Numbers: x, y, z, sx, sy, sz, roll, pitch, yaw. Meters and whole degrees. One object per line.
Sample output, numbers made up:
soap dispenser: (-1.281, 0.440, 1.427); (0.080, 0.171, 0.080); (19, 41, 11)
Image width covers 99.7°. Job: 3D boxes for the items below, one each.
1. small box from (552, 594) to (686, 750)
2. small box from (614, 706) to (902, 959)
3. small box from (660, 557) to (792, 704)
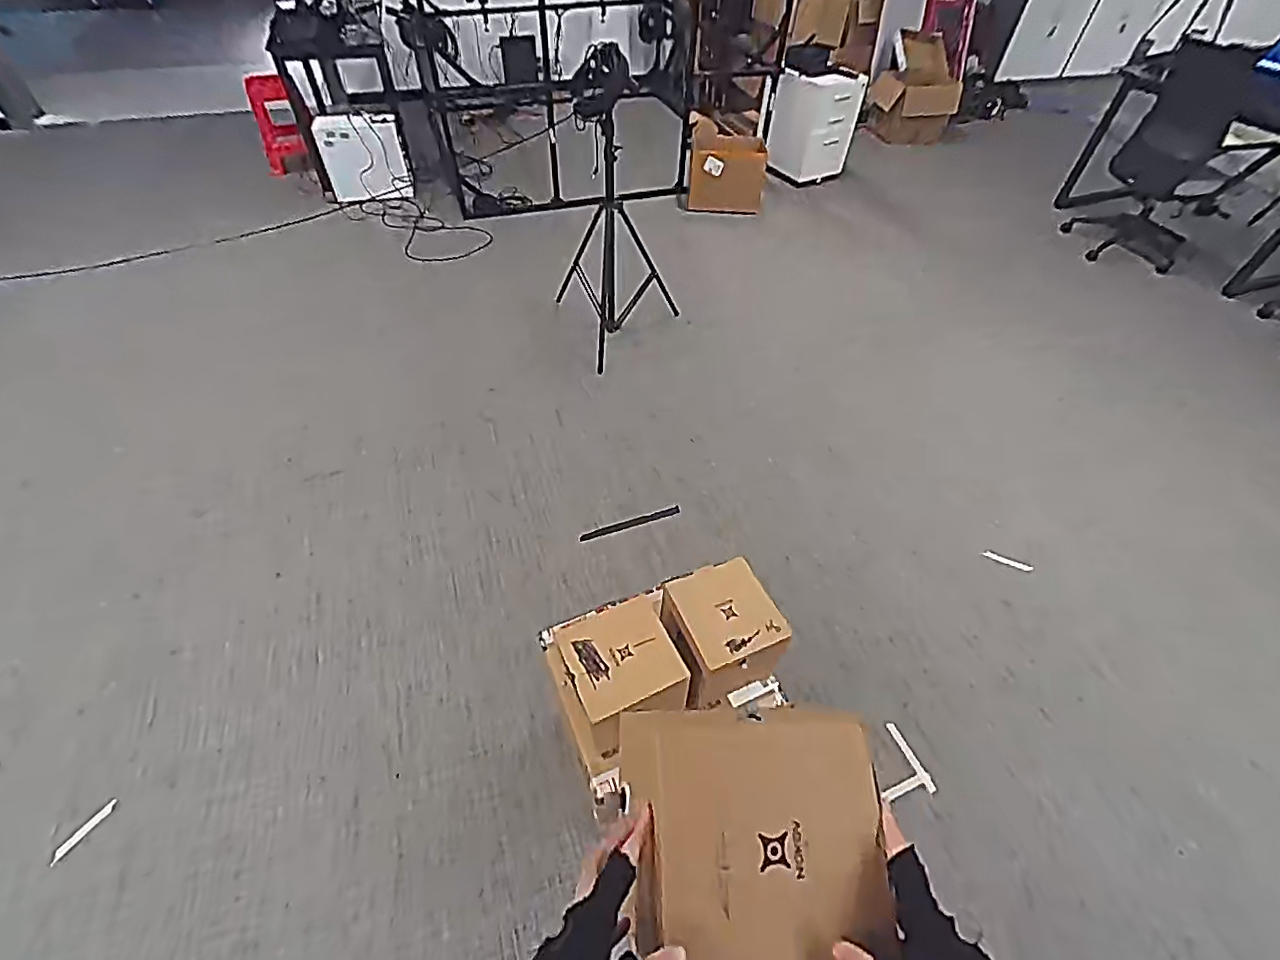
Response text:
small box: (-0.035, 0.335, 0.937); (0.179, 0.176, 0.168); (-20, 52, -17)
small box: (0.079, 0.285, 0.457); (0.179, 0.176, 0.168); (2, 69, -12)
small box: (0.145, 0.277, 0.995); (0.168, 0.176, 0.179); (-16, 50, -18)
